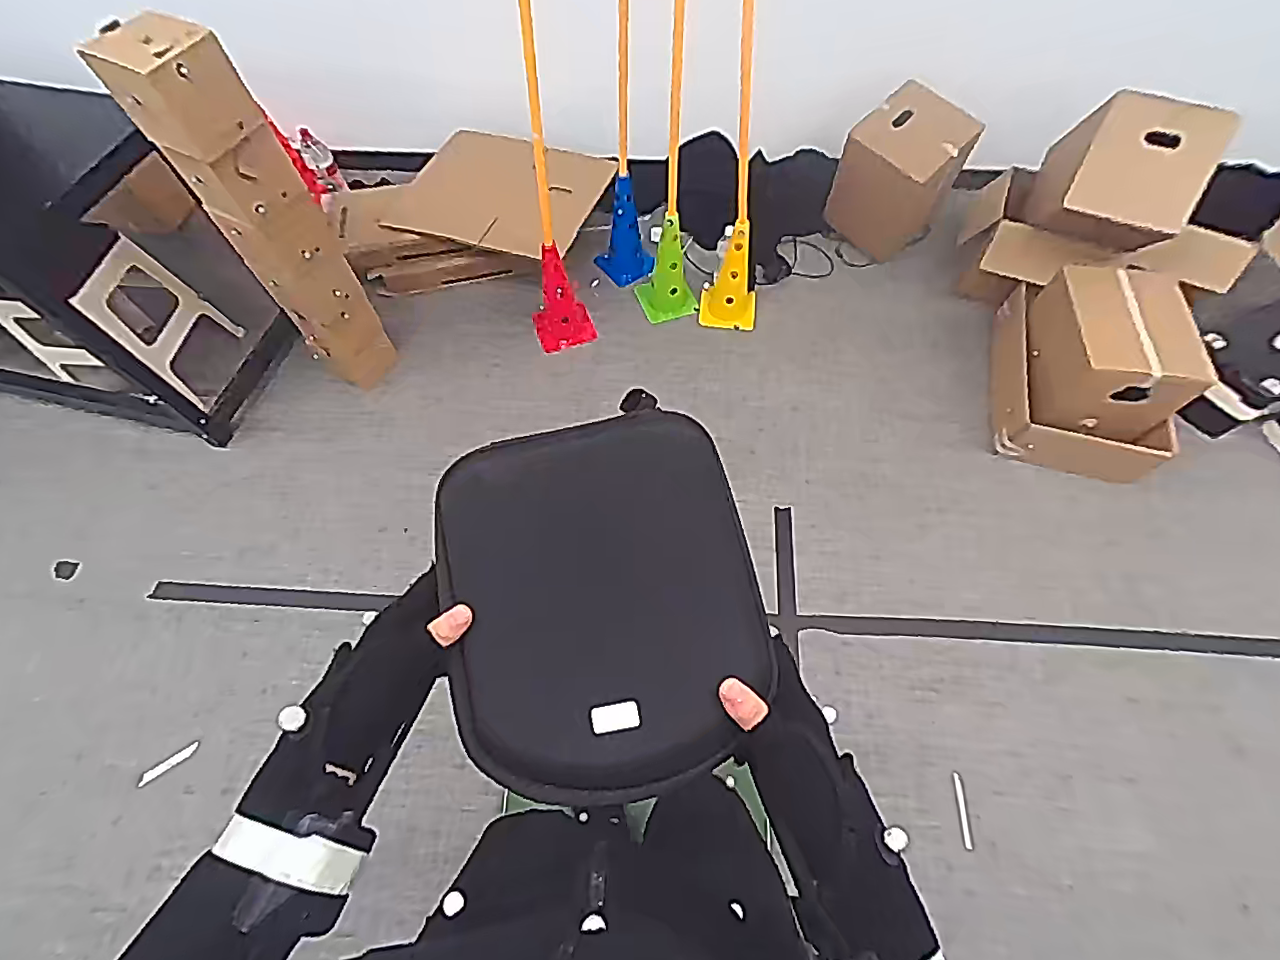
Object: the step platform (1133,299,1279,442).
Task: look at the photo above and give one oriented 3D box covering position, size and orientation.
[{"bbox_3d":[2.024,-0.384,1.775,0.684,0.204,0.286,-23,64,-11],"label":"step platform"}]
